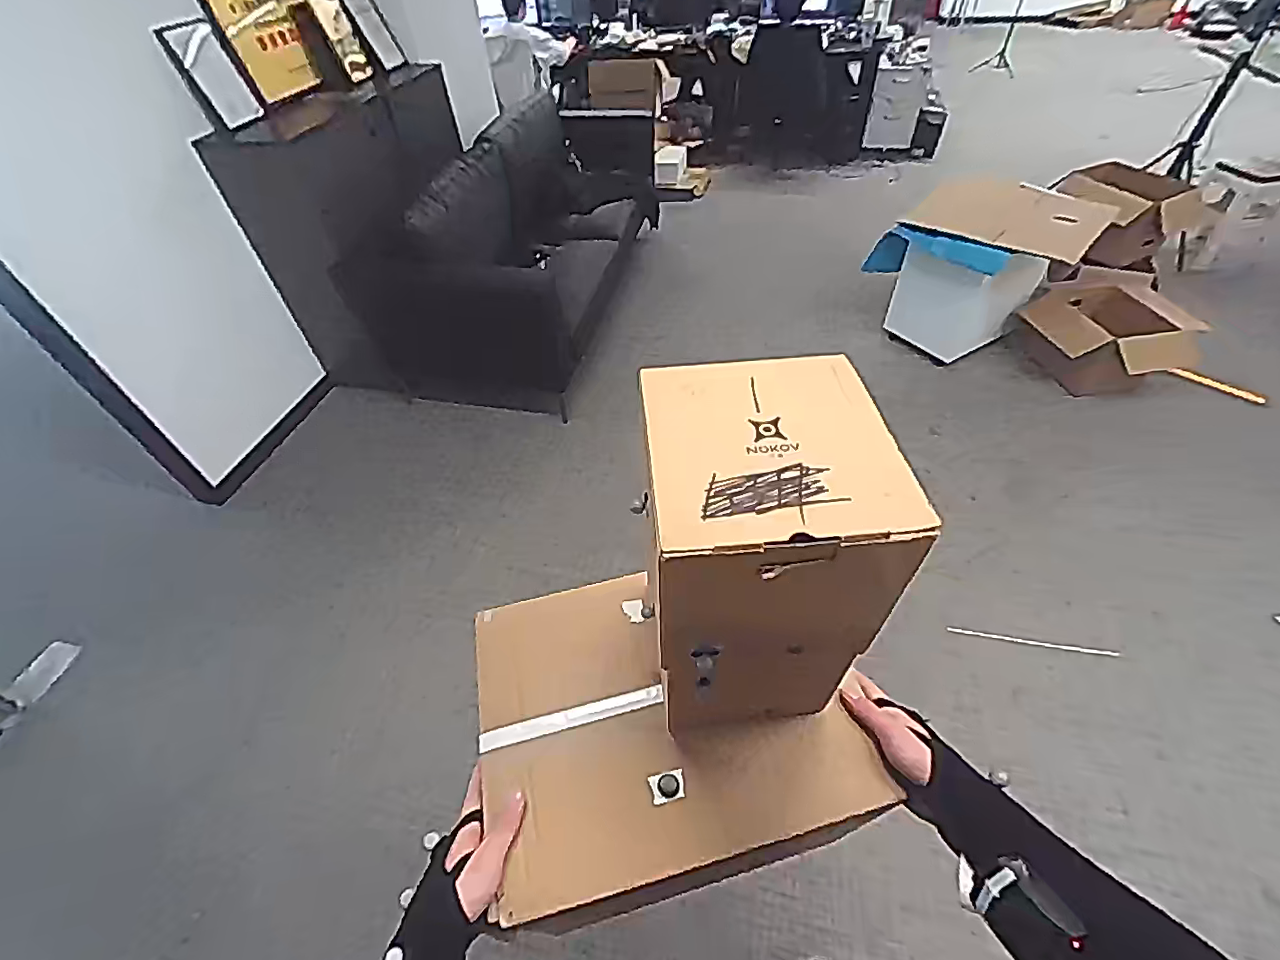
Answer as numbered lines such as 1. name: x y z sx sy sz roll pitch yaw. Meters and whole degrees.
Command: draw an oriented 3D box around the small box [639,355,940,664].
1. small box: 0.089 0.029 0.416 0.168 0.176 0.179 -4 47 0
